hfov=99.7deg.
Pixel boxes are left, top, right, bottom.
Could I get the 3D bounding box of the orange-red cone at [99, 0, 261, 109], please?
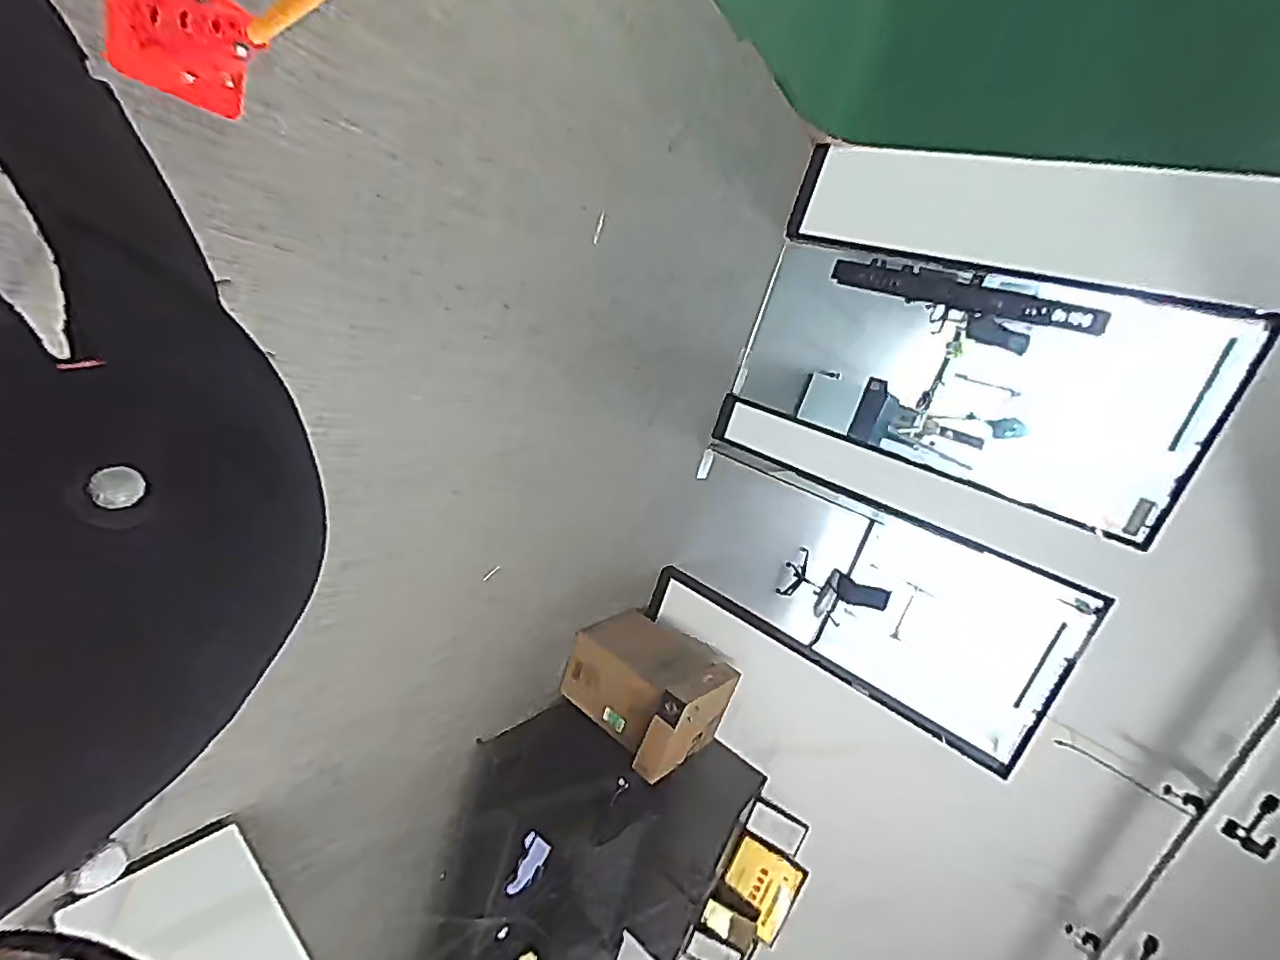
[{"bbox_3d":[-0.723,-0.760,0.901,0.199,0.360,0.198,0,114,-55],"label":"orange-red cone"}]
